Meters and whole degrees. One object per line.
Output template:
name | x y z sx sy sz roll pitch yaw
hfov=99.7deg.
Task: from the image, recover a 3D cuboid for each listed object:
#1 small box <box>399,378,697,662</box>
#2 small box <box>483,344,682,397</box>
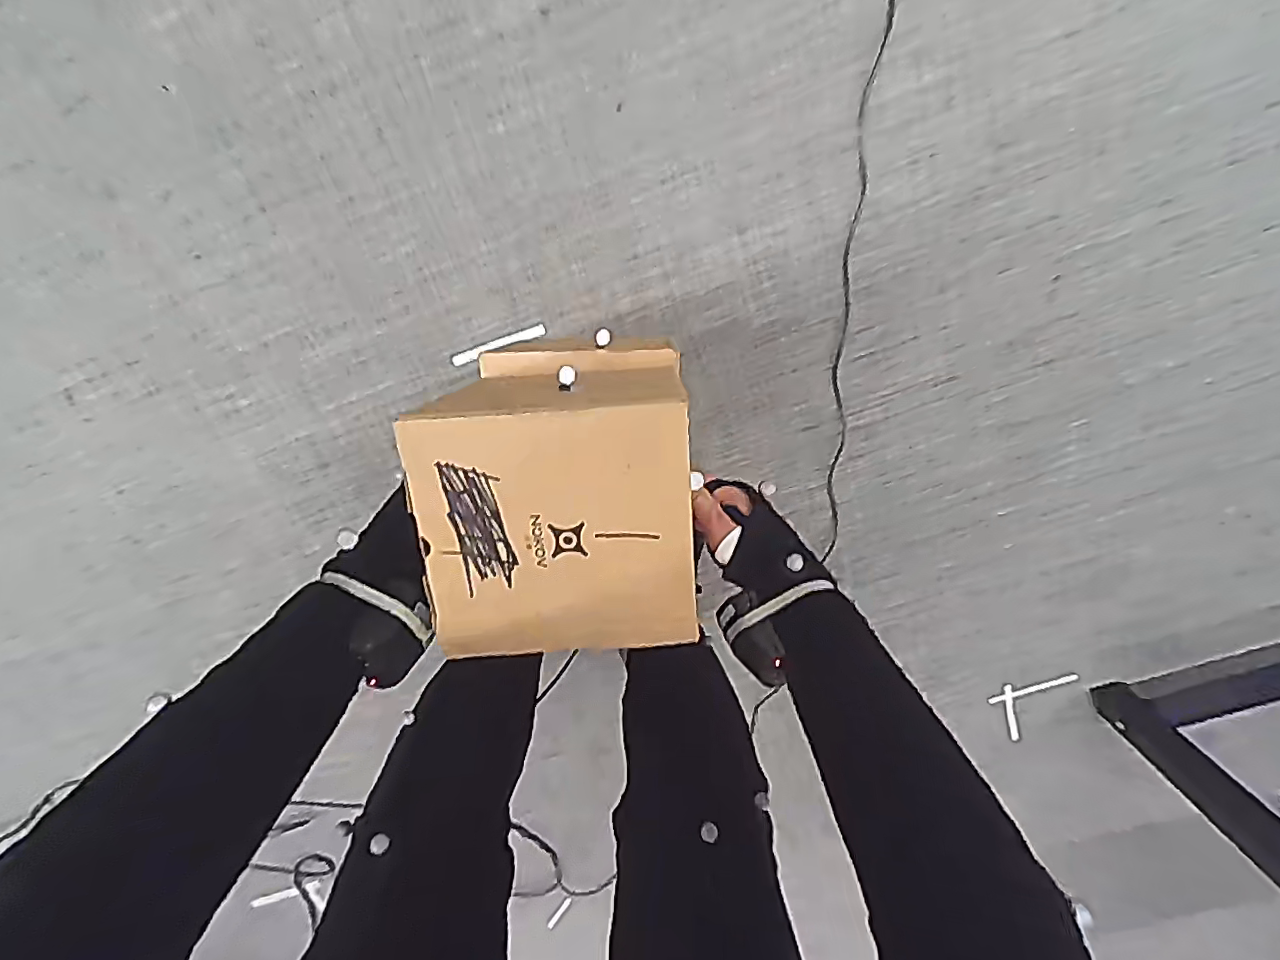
small box | -0.052 0.017 0.416 0.179 0.176 0.168 -4 108 1
small box | -0.051 -0.052 0.568 0.179 0.176 0.168 -1 108 0
